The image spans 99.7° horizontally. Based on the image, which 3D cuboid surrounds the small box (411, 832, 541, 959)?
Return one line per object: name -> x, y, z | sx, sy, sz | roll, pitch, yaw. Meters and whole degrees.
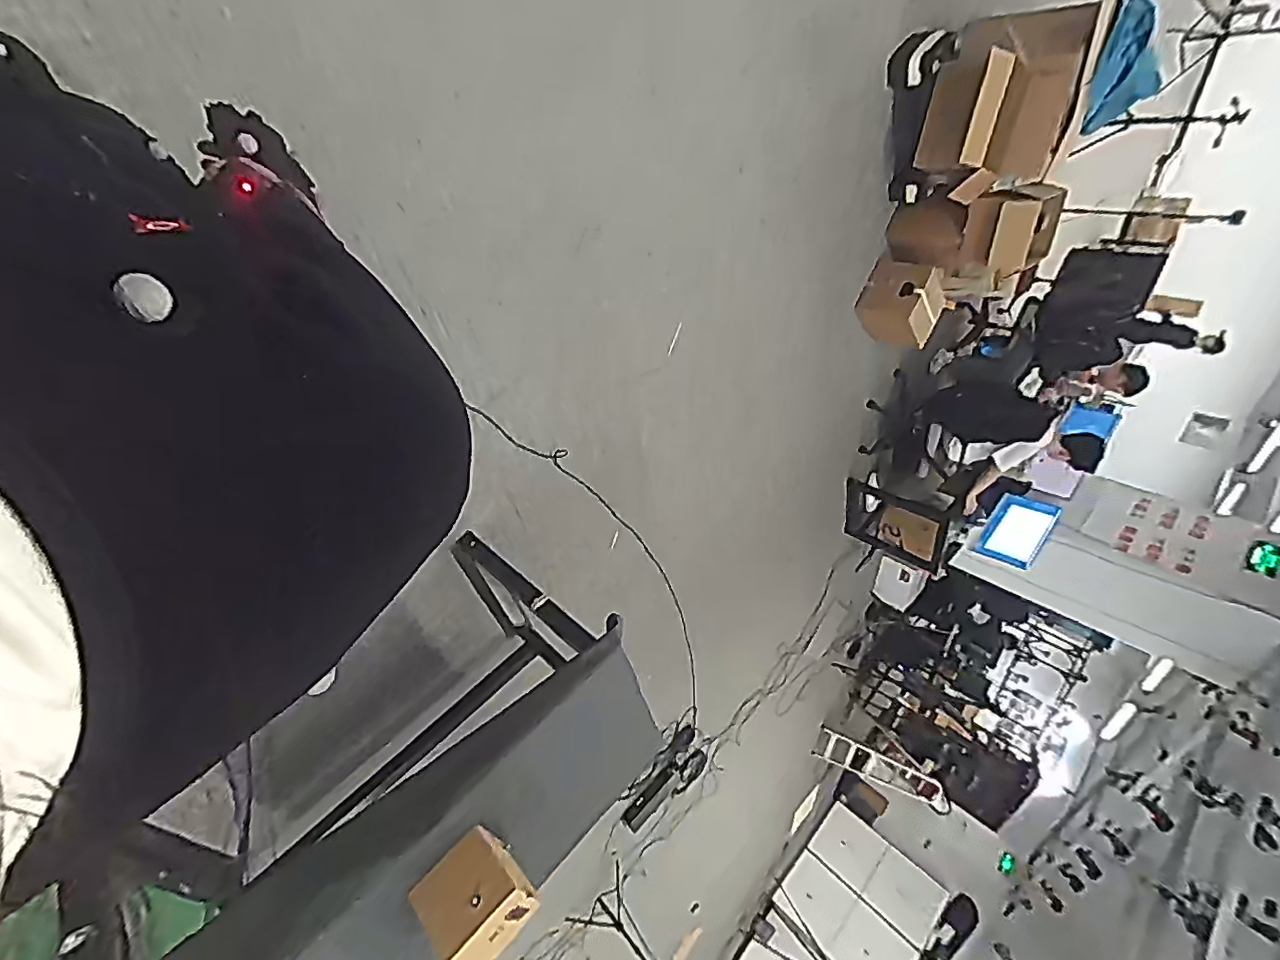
small box -> -0.346, 0.897, 1.146 | 0.179, 0.176, 0.168 | -40, 136, -24
